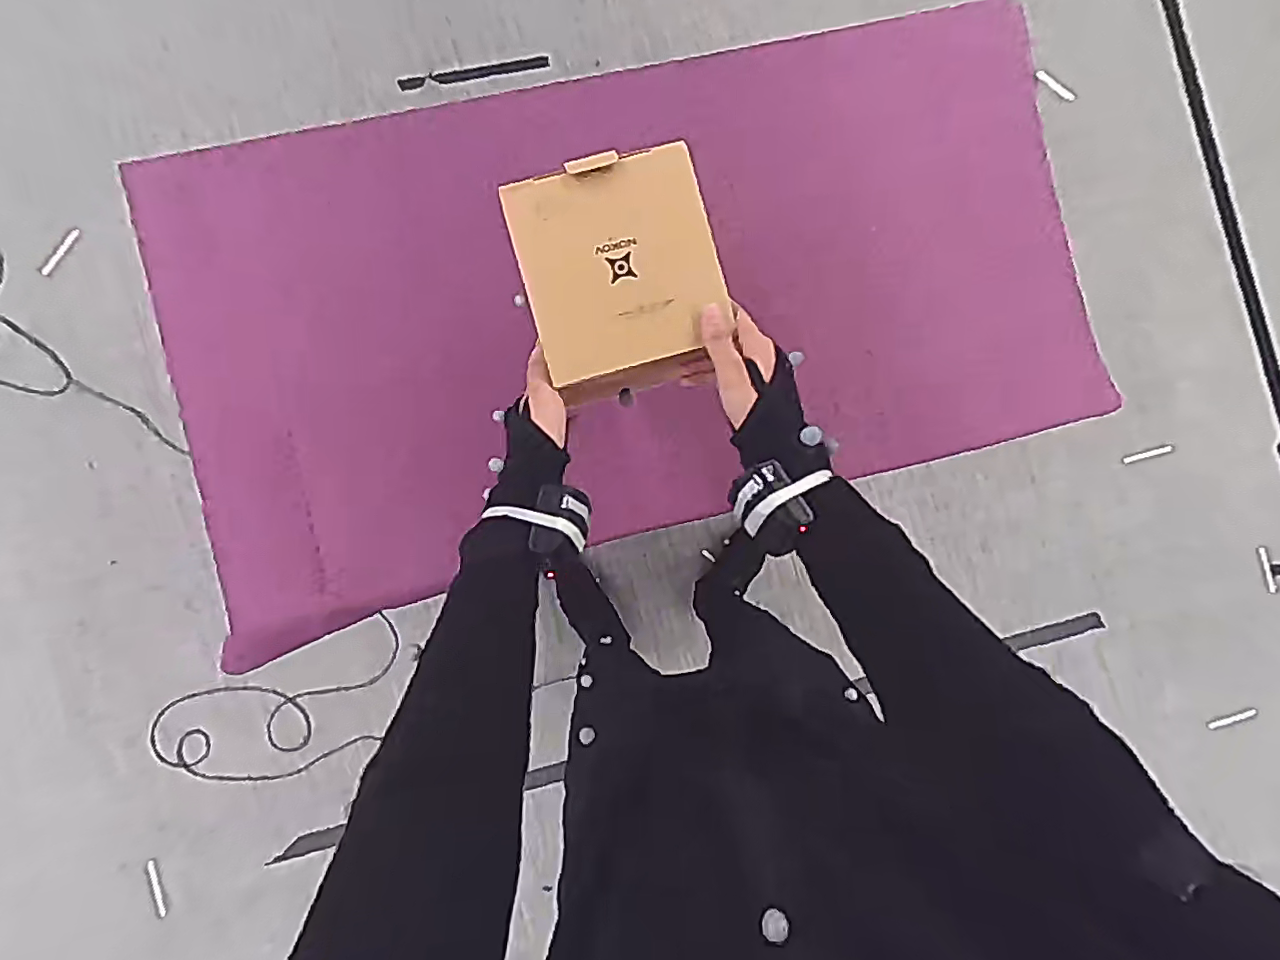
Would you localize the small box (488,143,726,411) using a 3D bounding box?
[{"bbox_3d":[-0.032,-0.179,0.527,0.168,0.176,0.179,-15,91,-3],"label":"small box"}]
